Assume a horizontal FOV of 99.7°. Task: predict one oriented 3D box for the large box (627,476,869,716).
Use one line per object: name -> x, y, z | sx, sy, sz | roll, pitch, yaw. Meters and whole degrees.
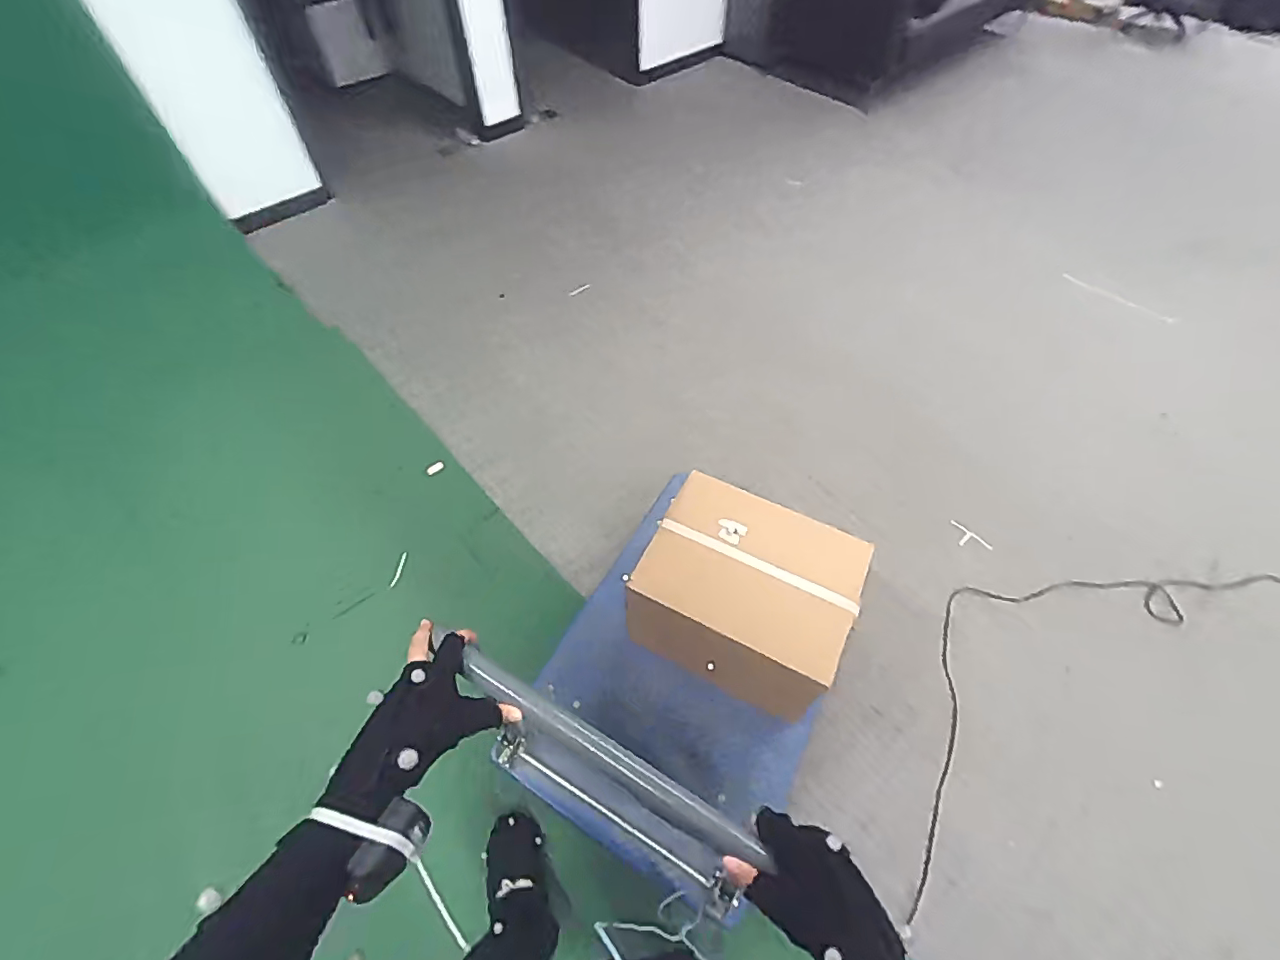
large box -> 0.223, 0.255, 1.184 | 0.408, 0.320, 0.320 | 22, 57, 16
